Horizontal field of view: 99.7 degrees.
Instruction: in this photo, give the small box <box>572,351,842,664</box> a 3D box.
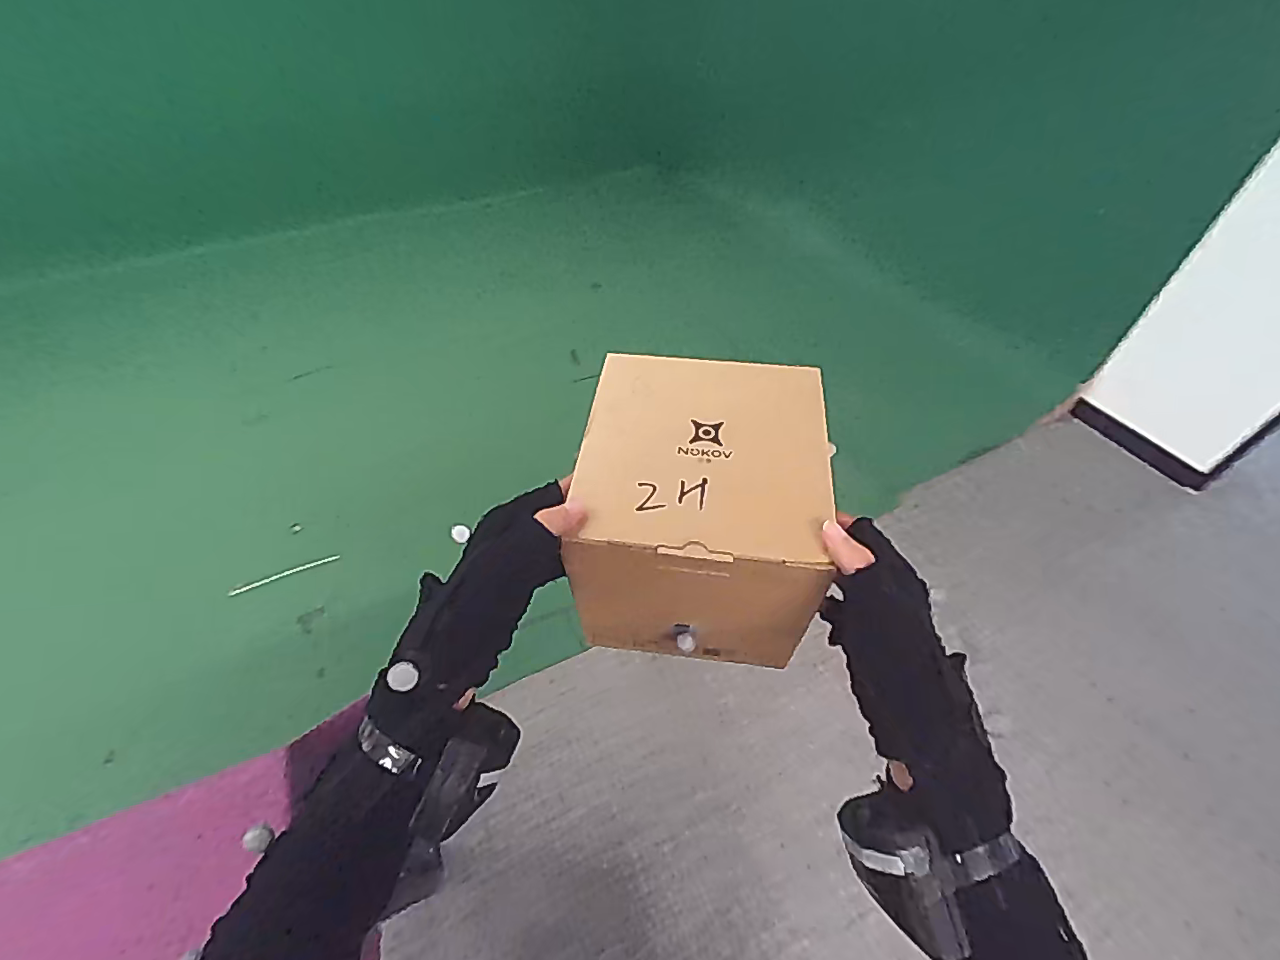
[{"bbox_3d":[0.052,0.023,0.434,0.168,0.176,0.179,7,52,7],"label":"small box"}]
